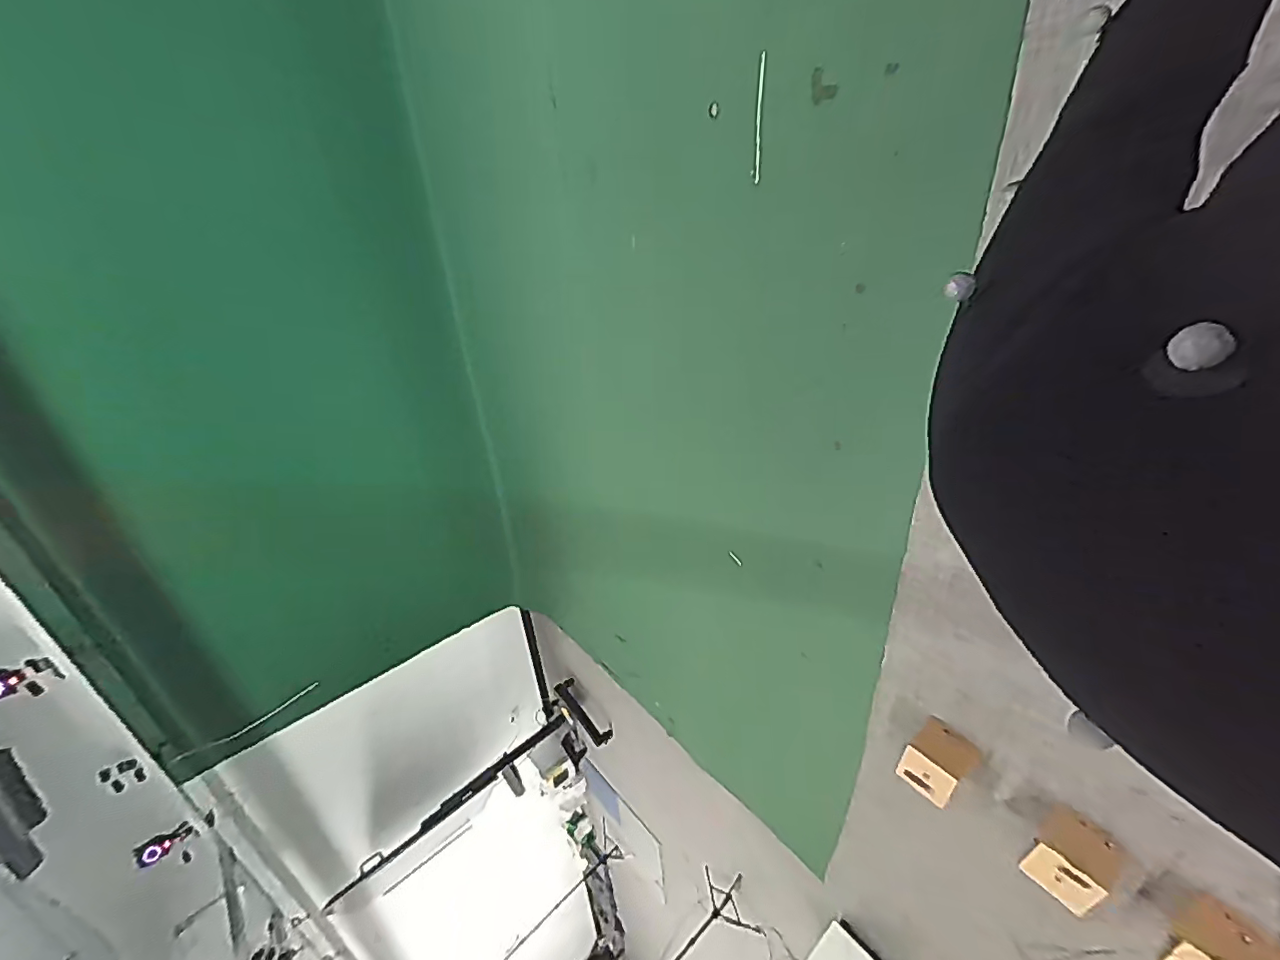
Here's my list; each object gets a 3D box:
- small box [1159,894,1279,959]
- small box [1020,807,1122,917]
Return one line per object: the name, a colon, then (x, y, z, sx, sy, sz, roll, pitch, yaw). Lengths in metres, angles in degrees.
small box: (1.464, 1.211, 1.362, 0.168, 0.176, 0.179, 28, 132, 42)
small box: (1.259, 1.105, 1.576, 0.168, 0.176, 0.179, 35, 137, 38)
